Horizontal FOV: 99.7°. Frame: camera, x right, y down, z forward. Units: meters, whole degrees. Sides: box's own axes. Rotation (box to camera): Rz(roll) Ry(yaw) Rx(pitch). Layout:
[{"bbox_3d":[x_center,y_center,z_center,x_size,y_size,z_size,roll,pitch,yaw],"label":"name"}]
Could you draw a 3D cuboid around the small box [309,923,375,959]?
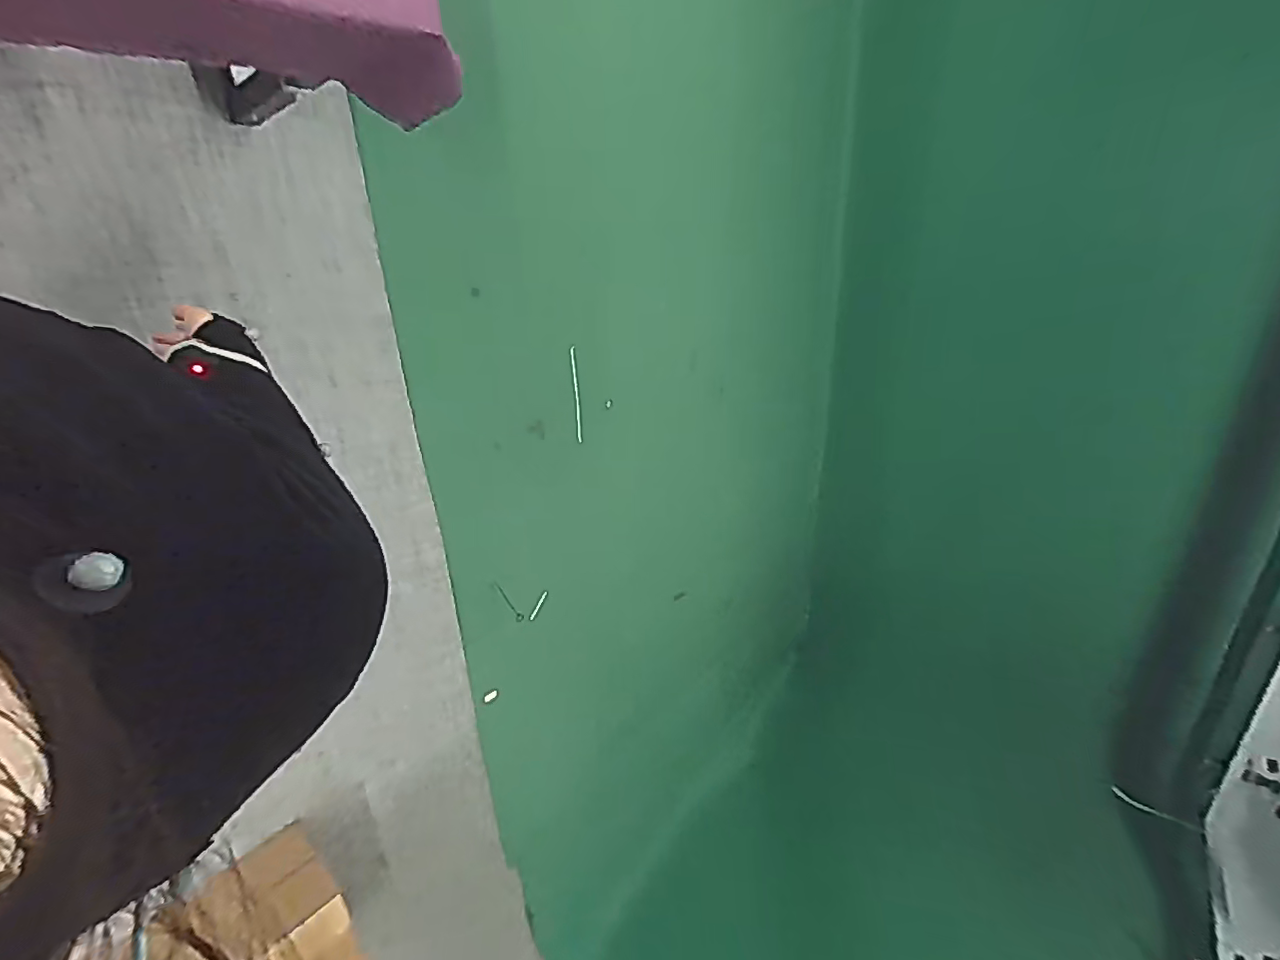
[{"bbox_3d":[-0.762,1.298,1.368,0.179,0.176,0.168,-29,127,-43],"label":"small box"}]
